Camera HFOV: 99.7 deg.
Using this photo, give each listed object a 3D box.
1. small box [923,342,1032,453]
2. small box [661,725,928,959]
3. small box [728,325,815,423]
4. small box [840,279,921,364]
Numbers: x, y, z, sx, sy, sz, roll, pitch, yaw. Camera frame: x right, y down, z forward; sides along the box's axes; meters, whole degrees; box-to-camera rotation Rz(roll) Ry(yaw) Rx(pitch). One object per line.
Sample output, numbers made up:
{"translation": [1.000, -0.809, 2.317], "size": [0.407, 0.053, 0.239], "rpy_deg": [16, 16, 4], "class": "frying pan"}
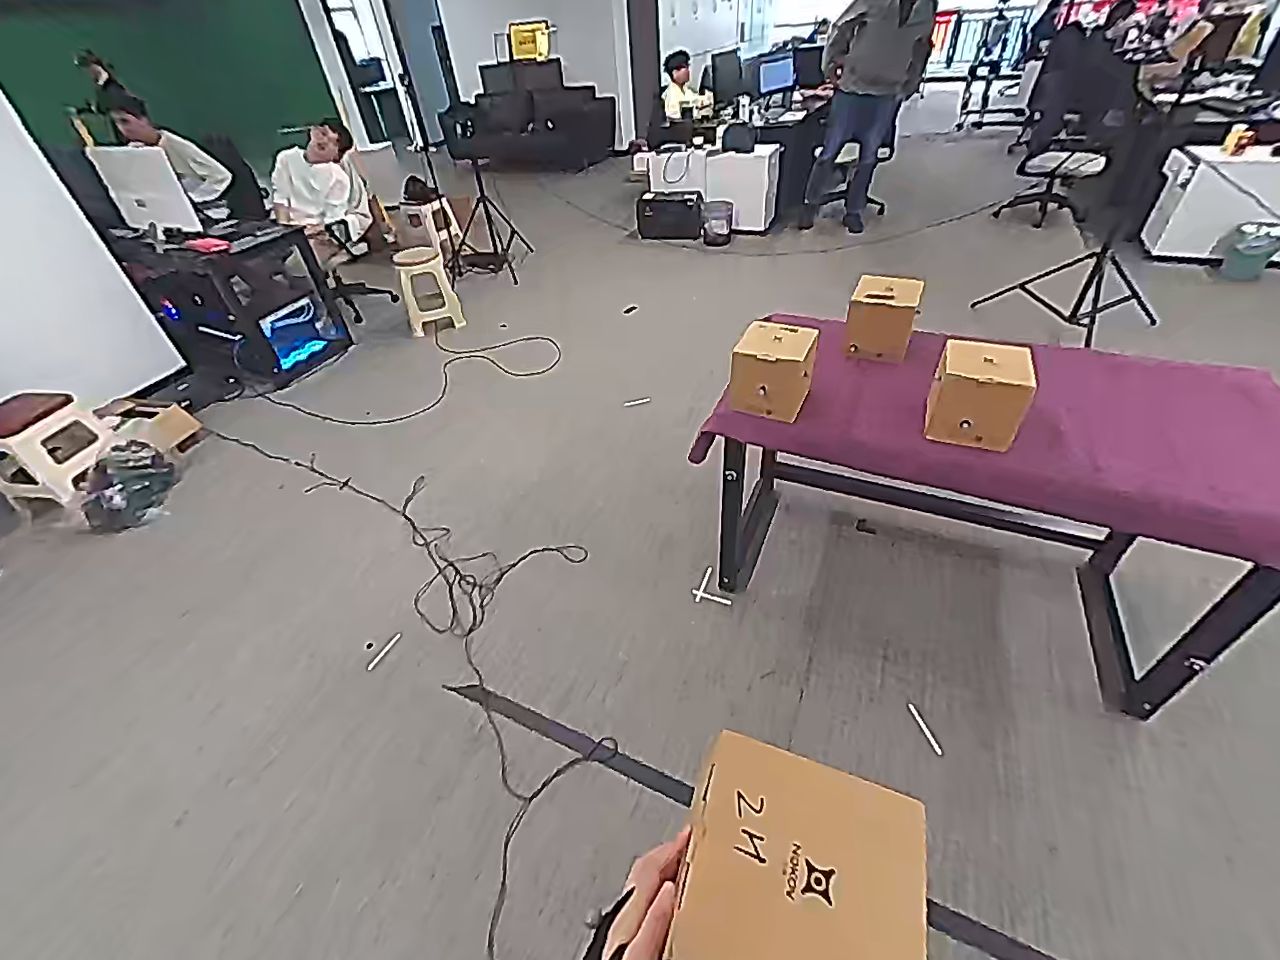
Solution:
{"translation": [0.748, -0.188, 1.214], "size": [0.168, 0.176, 0.179], "rpy_deg": [13, 43, 20], "class": "small box"}
{"translation": [0.126, 0.348, 0.473], "size": [0.179, 0.176, 0.168], "rpy_deg": [16, 50, 12], "class": "small box"}
{"translation": [0.325, -0.263, 1.345], "size": [0.168, 0.176, 0.179], "rpy_deg": [15, 45, 22], "class": "small box"}
{"translation": [0.669, -0.444, 1.515], "size": [0.168, 0.176, 0.179], "rpy_deg": [16, 46, 23], "class": "small box"}
